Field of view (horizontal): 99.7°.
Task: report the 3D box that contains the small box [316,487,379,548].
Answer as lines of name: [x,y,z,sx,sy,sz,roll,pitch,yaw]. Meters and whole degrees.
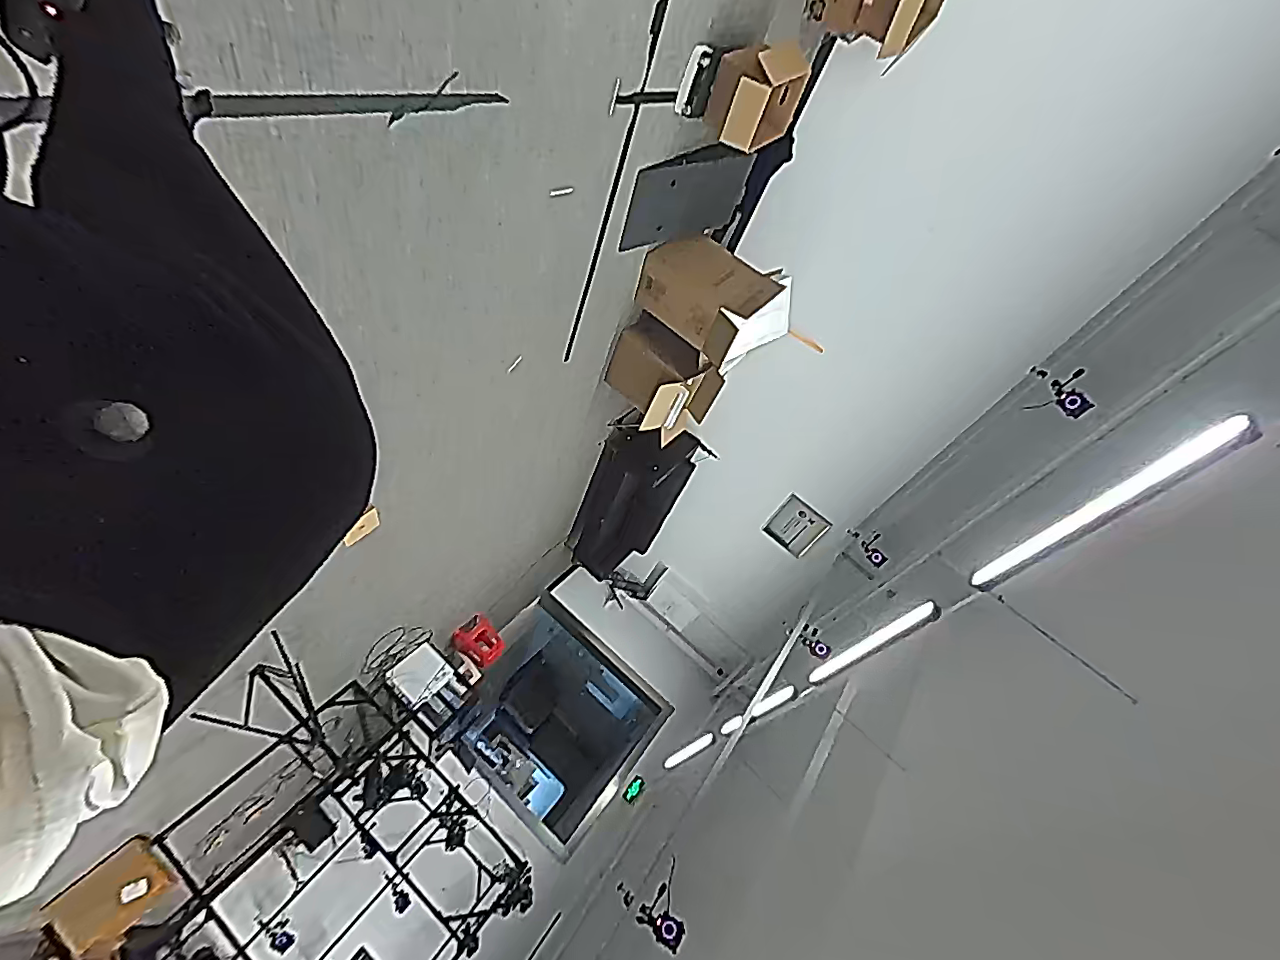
small box: [-1.305,0.163,2.421,0.179,0.176,0.168,-43,167,-36]
